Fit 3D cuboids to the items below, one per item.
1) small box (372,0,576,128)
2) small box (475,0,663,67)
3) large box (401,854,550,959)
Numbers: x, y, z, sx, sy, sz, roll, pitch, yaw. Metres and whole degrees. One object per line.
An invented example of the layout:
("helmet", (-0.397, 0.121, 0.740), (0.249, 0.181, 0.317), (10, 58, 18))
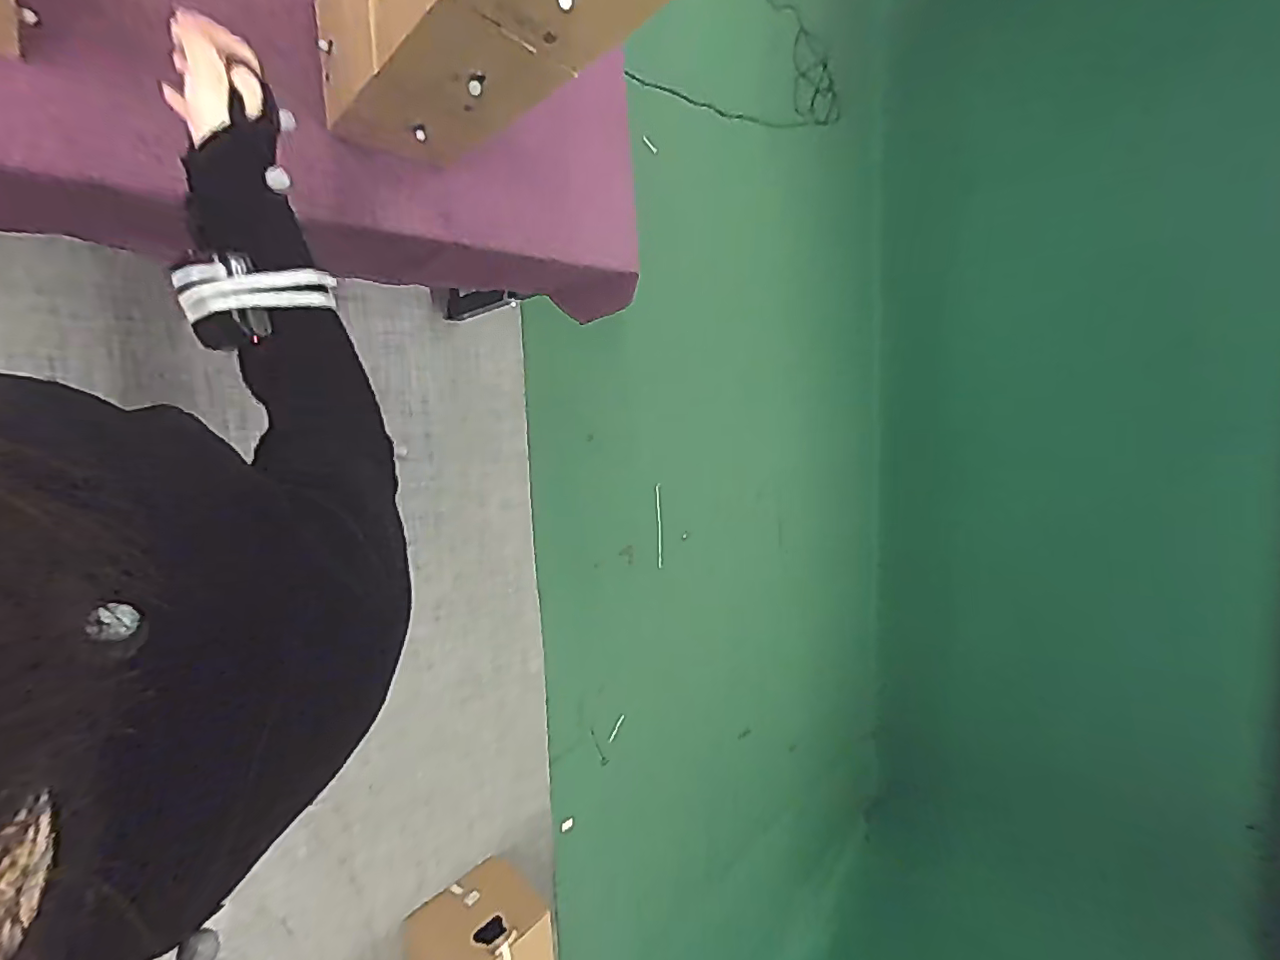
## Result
("small box", (-0.187, -0.543, 0.611), (0.168, 0.176, 0.179), (-4, 96, -47))
("small box", (-0.068, -0.535, 0.496), (0.168, 0.176, 0.179), (-6, 96, -46))
("large box", (-0.484, 1.465, 1.624), (0.320, 0.320, 0.408), (-11, 101, -47))
